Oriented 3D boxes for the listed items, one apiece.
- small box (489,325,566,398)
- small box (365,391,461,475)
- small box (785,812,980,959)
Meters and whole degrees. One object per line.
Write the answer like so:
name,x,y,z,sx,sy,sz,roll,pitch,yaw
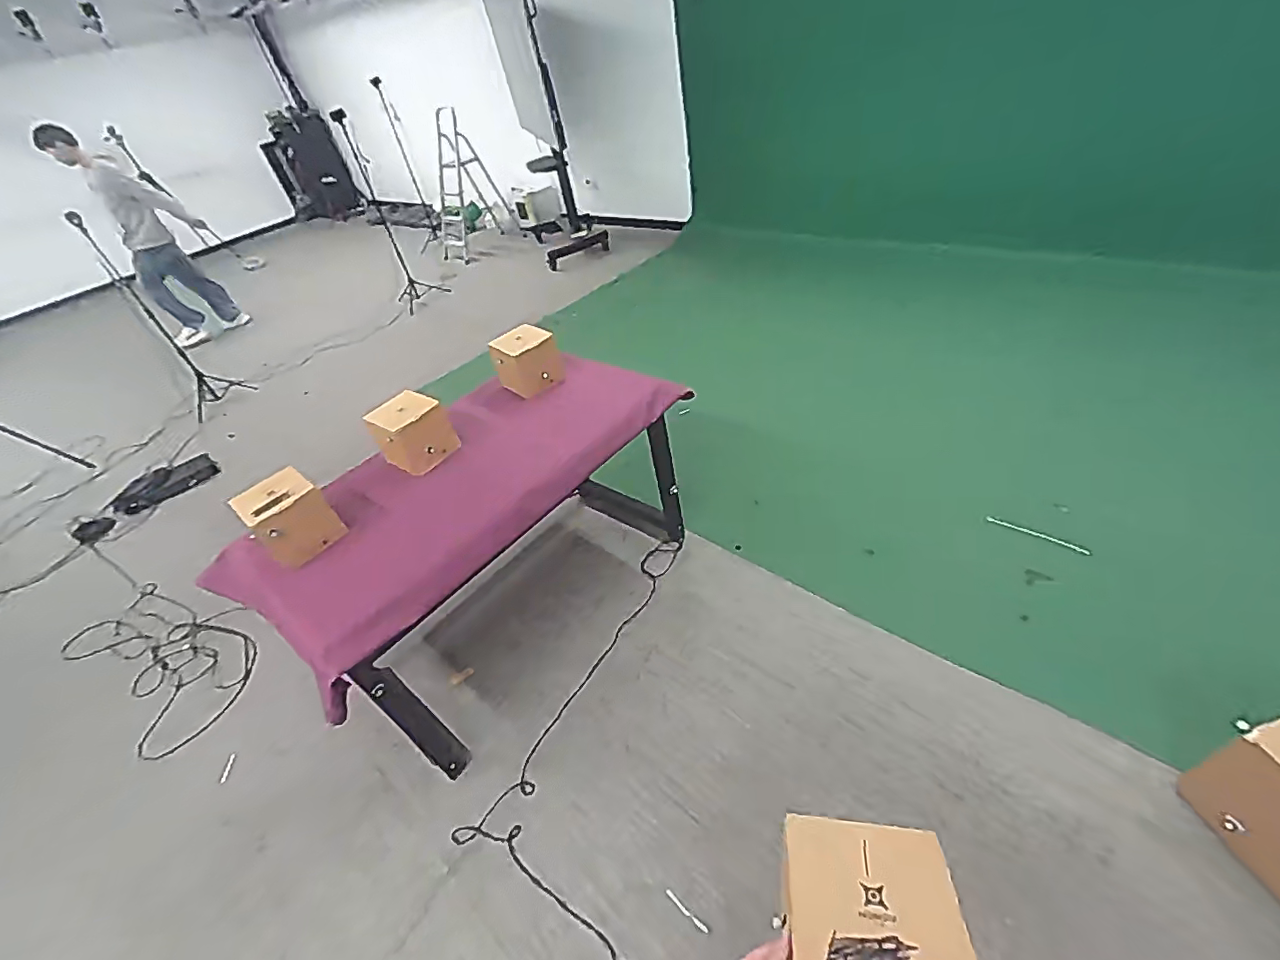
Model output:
small box,-0.380,-0.402,1.841,0.168,0.176,0.179,-38,47,-25
small box,-0.674,-0.139,1.620,0.179,0.176,0.168,20,50,31
small box,0.244,0.498,0.572,0.168,0.176,0.179,1,23,11
